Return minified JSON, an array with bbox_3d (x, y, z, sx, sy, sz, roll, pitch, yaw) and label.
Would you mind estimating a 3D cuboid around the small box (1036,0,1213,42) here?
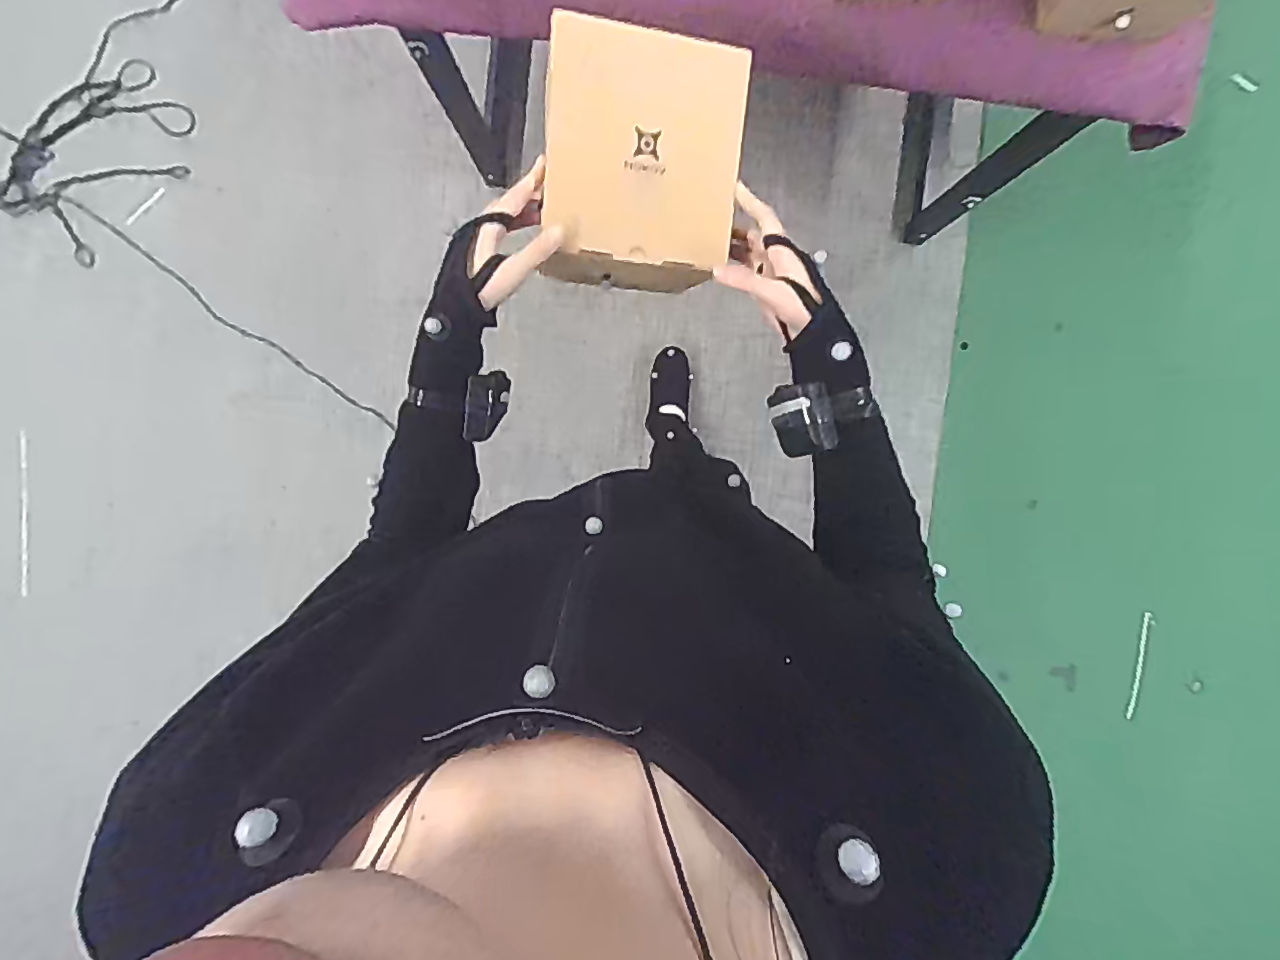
[{"bbox_3d":[0.629,-0.672,0.649,0.179,0.176,0.168,3,93,0],"label":"small box"}]
